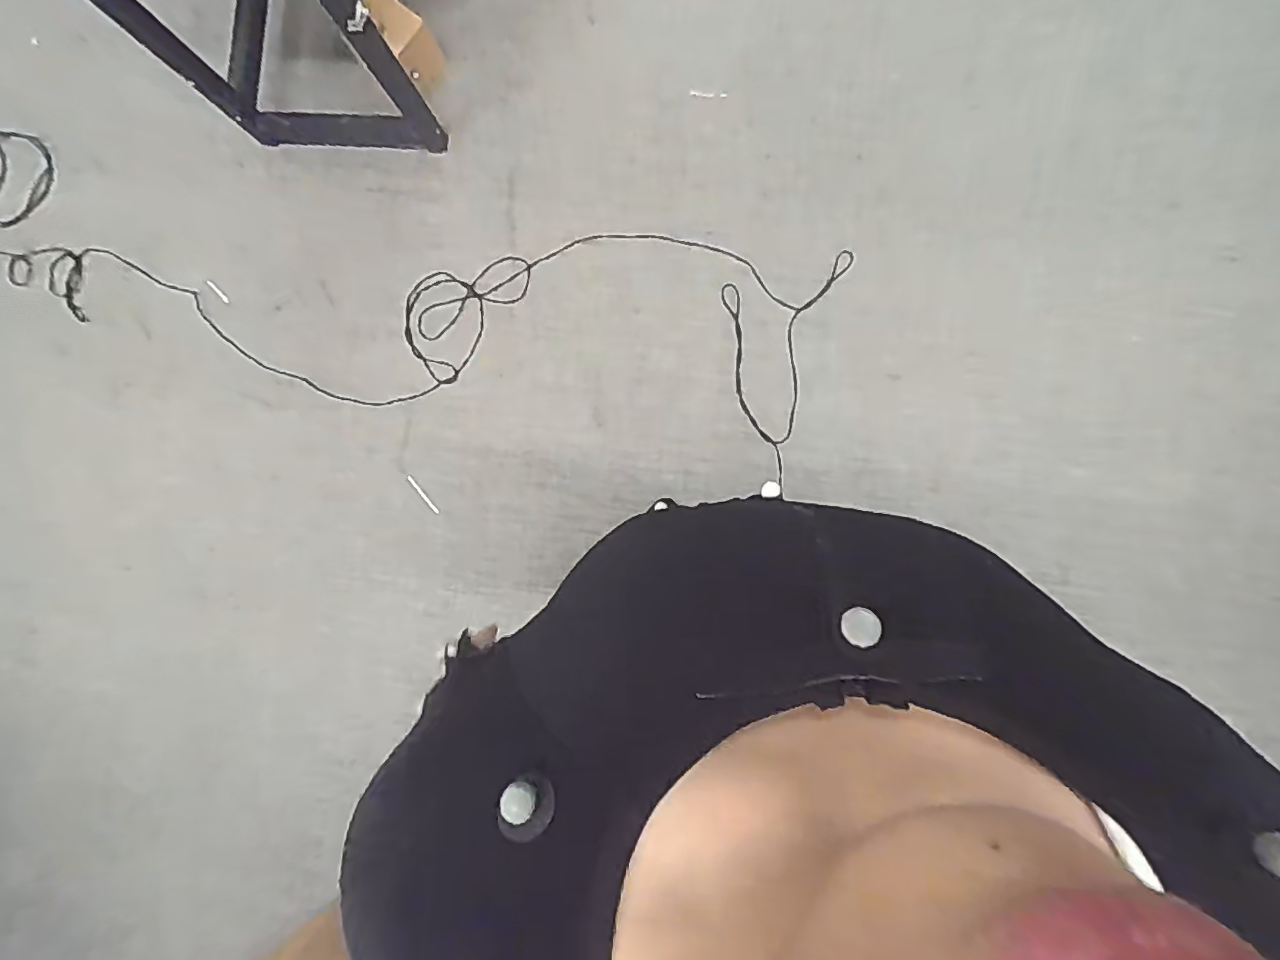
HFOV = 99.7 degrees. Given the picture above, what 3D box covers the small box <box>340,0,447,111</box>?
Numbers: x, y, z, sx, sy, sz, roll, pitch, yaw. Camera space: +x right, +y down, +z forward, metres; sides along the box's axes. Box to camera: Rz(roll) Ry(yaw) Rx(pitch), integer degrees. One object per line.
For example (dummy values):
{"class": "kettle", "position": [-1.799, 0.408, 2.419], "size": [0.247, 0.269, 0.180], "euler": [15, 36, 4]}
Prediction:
{"class": "small box", "position": [-0.678, -1.181, 1.508], "size": [0.179, 0.176, 0.168], "euler": [39, 91, 5]}
